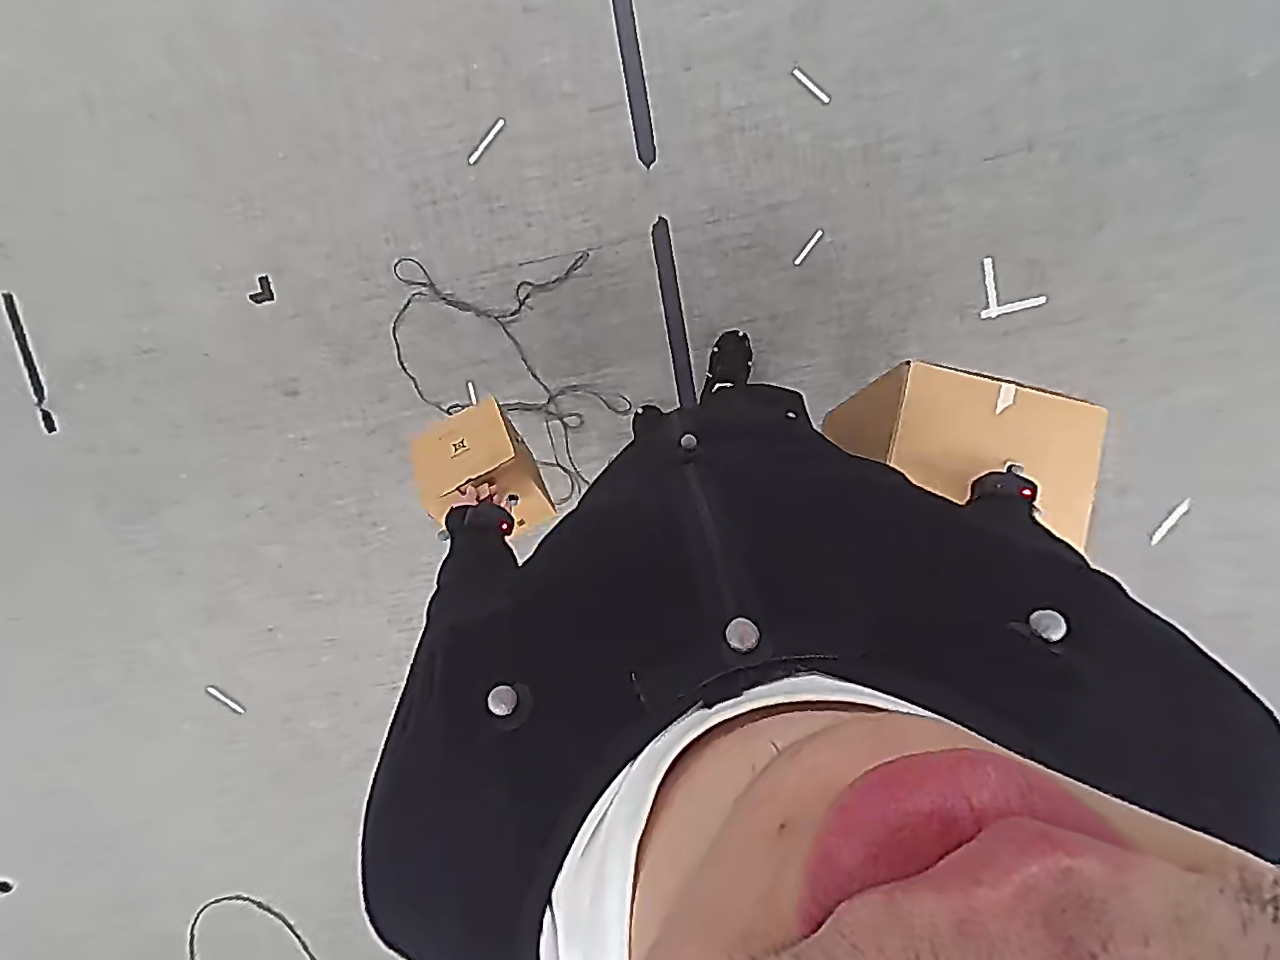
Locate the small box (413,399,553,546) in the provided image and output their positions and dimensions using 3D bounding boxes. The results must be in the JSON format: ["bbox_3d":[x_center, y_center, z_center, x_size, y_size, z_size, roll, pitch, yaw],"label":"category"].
[{"bbox_3d":[-0.274,-0.005,0.961,0.168,0.179,0.176,-28,139,-4],"label":"small box"}]
